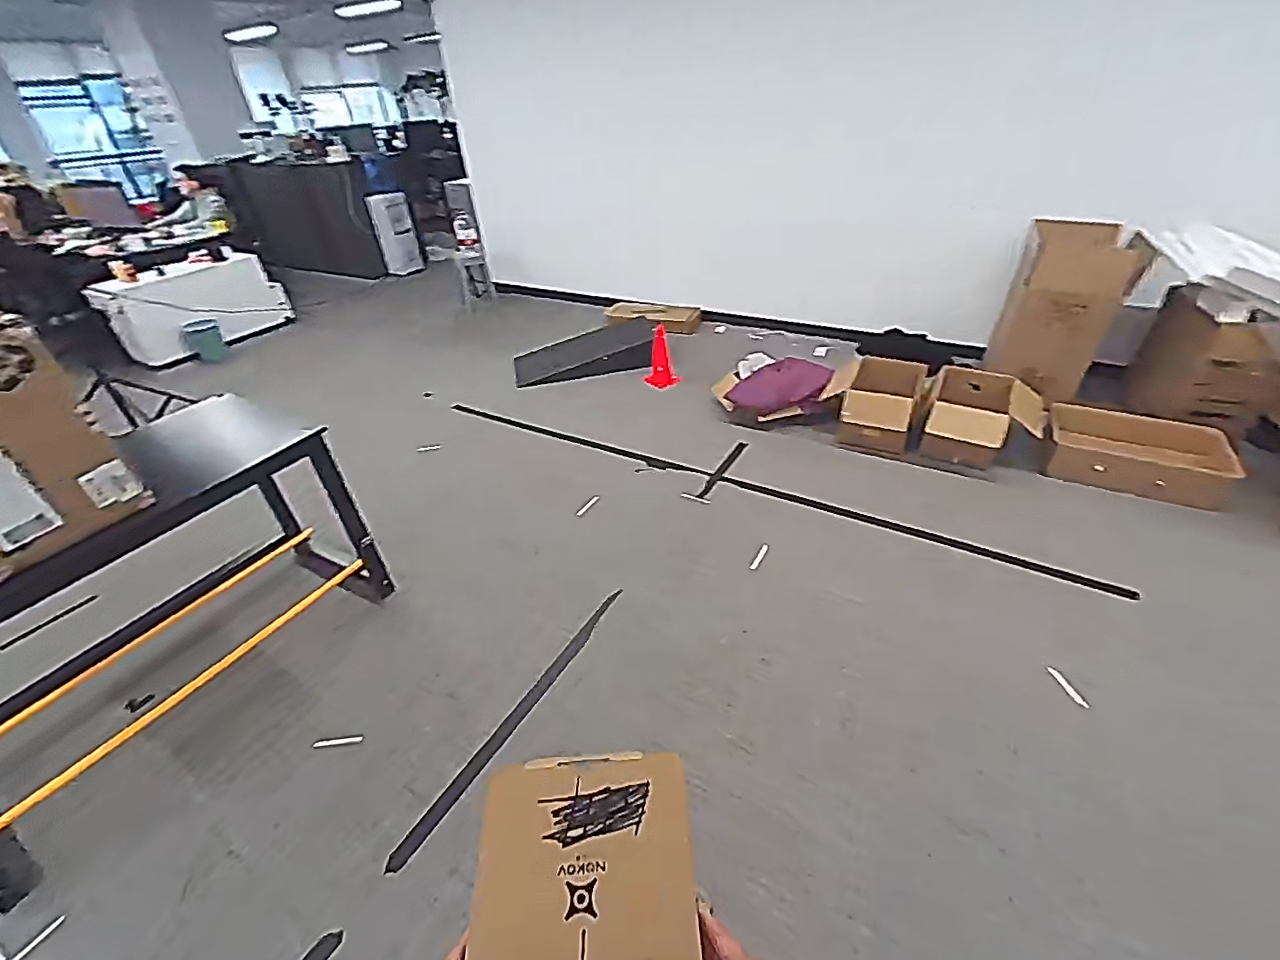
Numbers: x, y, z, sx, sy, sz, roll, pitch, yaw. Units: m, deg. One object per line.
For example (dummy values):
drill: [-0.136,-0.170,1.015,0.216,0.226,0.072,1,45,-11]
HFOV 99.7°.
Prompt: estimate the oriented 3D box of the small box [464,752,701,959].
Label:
small box: [-0.038,0.360,0.457,0.168,0.176,0.179,-6,42,0]
